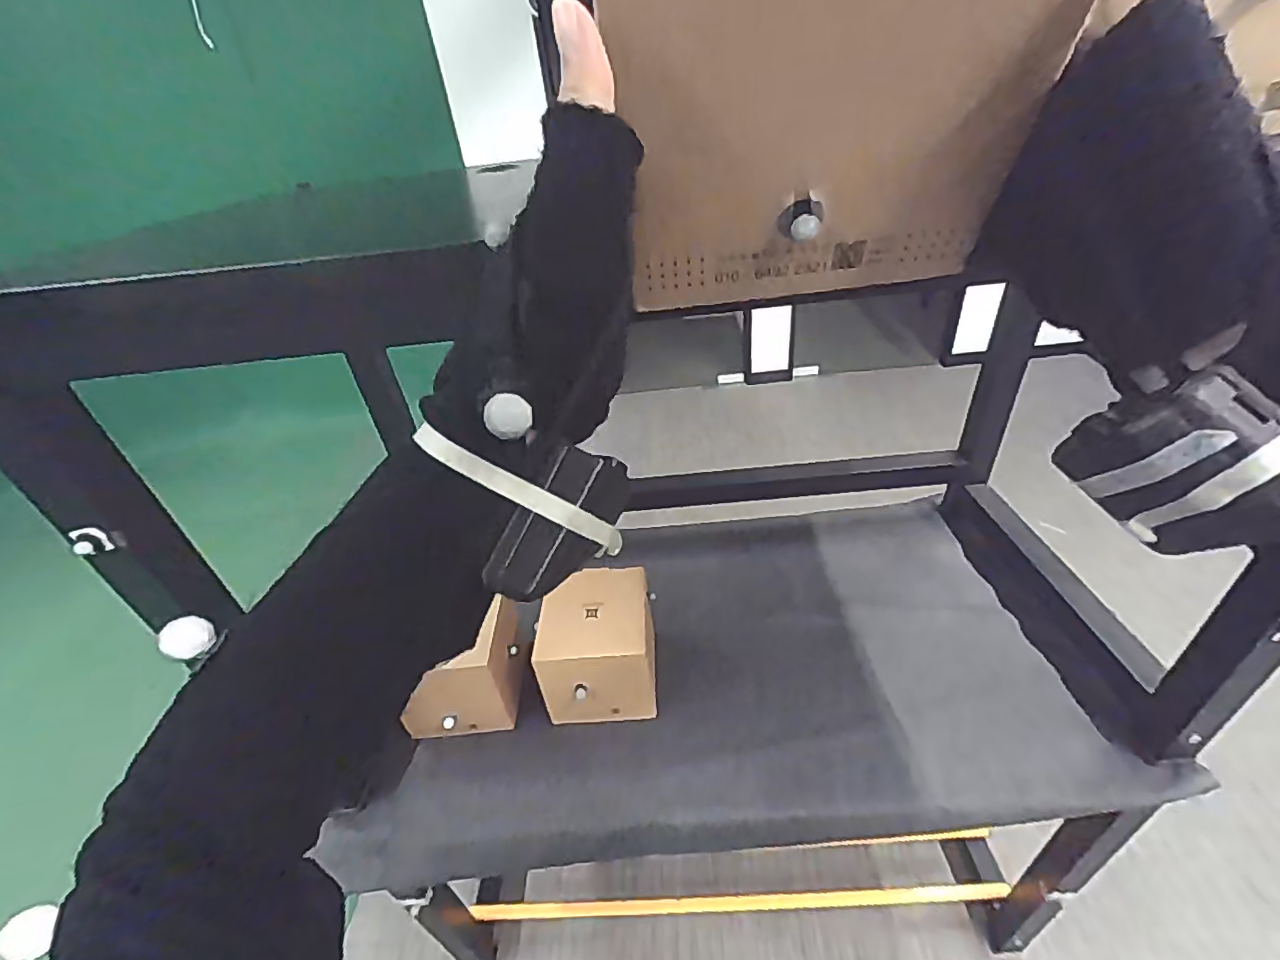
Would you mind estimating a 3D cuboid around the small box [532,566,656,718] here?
[{"bbox_3d":[-0.064,0.264,0.873,0.168,0.176,0.179,-5,34,3],"label":"small box"}]

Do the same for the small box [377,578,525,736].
[{"bbox_3d":[-0.290,0.285,0.880,0.168,0.176,0.179,-6,35,1],"label":"small box"}]
